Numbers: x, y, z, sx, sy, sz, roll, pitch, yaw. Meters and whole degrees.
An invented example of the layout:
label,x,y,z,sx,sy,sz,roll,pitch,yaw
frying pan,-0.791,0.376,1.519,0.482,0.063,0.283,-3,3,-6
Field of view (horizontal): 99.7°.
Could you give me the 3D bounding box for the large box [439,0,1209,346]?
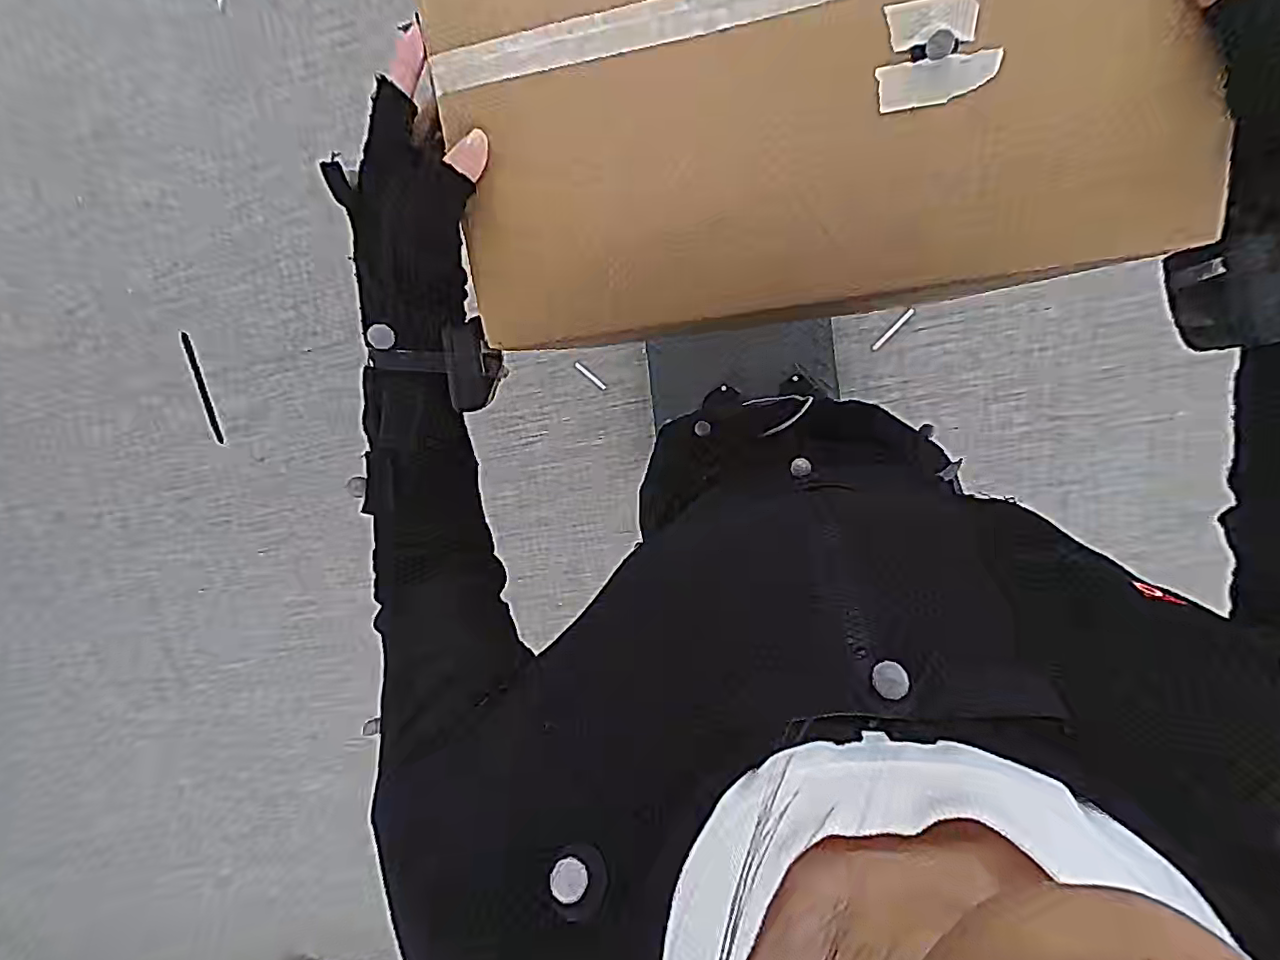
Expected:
label,x,y,z,sx,sy,sz,roll,pitch,yaw
large box,0.101,-0.295,0.436,0.408,0.320,0.320,-6,103,9
